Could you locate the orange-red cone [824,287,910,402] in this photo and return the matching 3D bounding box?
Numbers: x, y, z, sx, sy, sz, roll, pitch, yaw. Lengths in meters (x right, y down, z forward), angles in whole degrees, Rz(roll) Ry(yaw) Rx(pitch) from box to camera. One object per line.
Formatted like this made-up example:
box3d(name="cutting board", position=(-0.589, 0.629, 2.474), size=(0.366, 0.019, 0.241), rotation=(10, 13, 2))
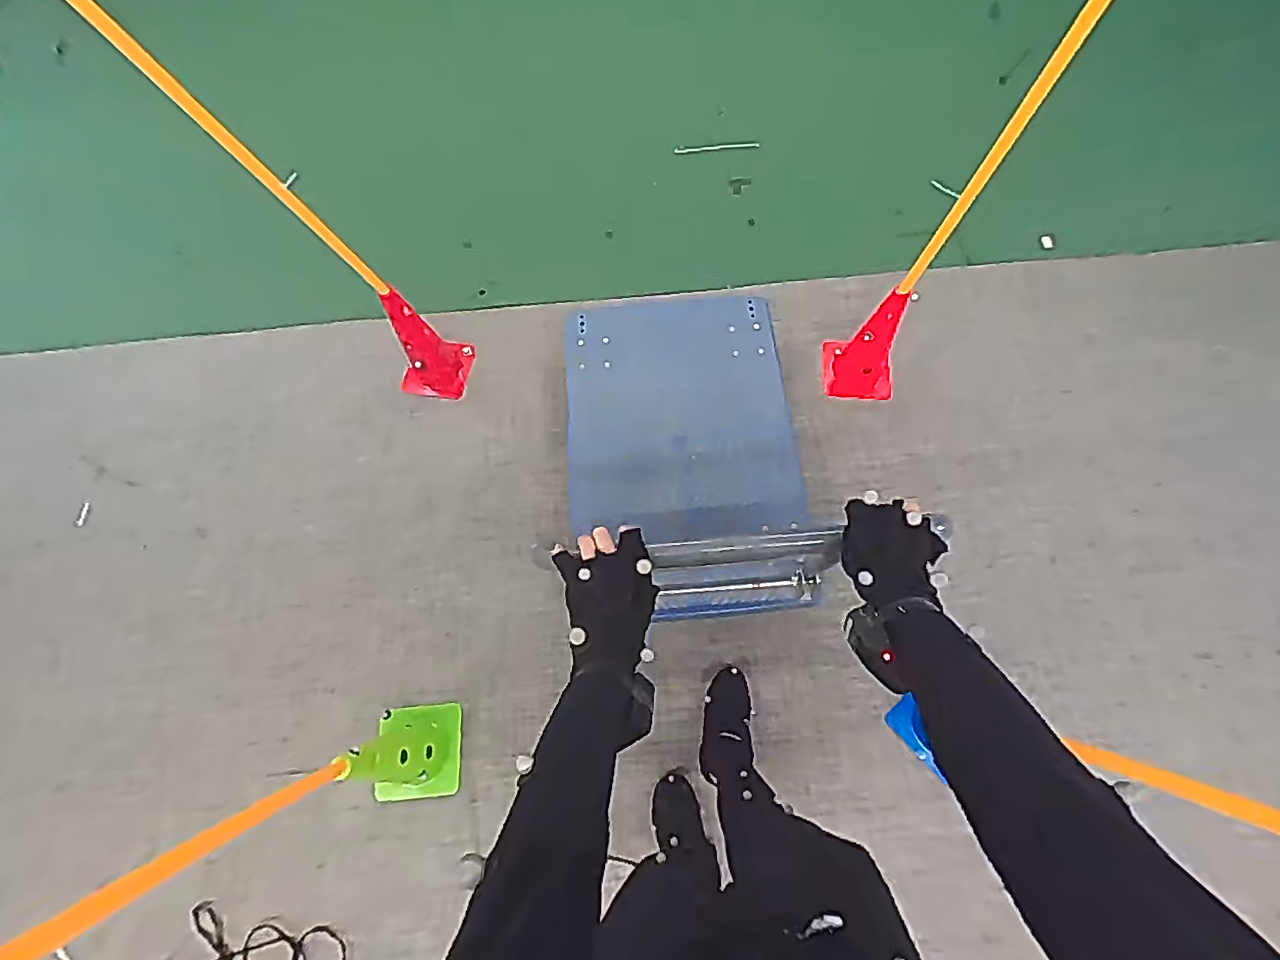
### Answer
box3d(name="orange-red cone", position=(0.652, -0.389, 1.480), size=(0.198, 0.360, 0.199), rotation=(6, 69, 5))
